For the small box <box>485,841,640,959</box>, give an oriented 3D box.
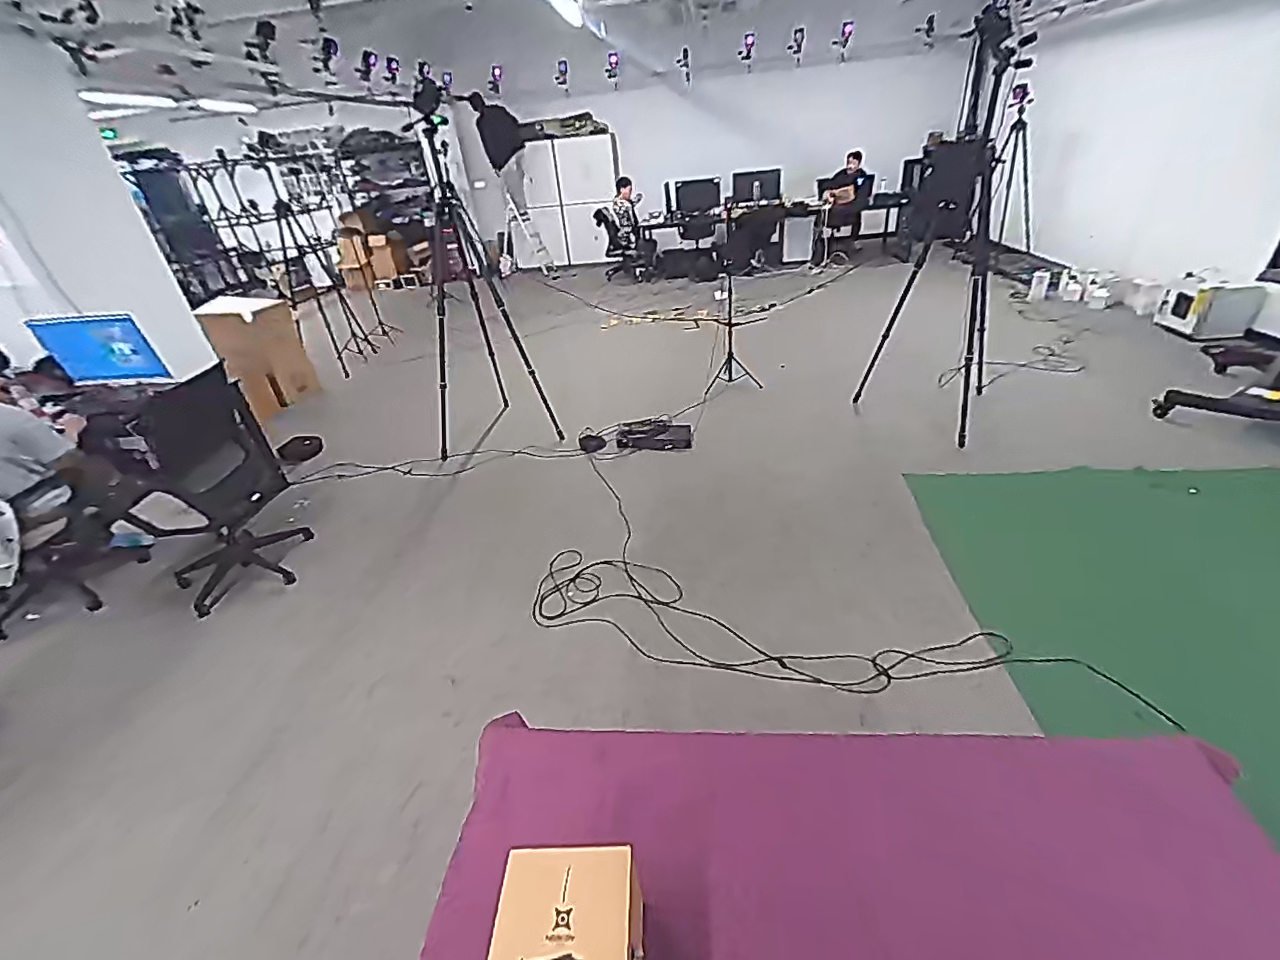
[{"bbox_3d":[-0.089,0.596,0.690,0.168,0.176,0.179,-3,31,4],"label":"small box"}]
